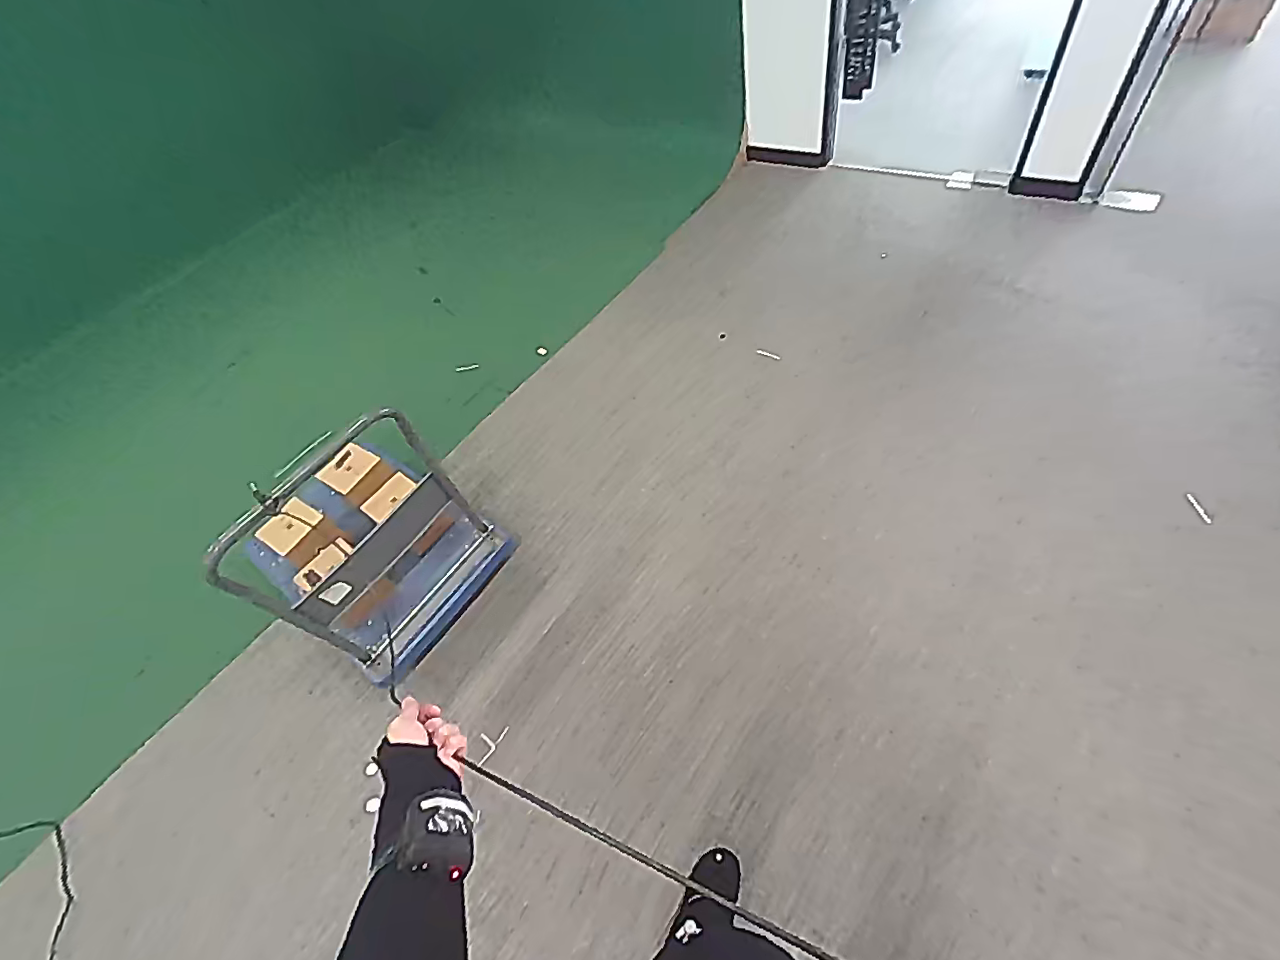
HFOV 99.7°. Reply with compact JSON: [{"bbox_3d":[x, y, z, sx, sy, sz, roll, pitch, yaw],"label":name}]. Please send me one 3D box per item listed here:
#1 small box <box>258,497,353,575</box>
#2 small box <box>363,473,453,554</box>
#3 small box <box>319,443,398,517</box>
[{"bbox_3d":[-1.097,0.192,1.787,0.179,0.176,0.168,23,62,26],"label":"small box"},{"bbox_3d":[-0.751,0.112,1.763,0.179,0.176,0.168,28,65,28],"label":"small box"},{"bbox_3d":[-0.964,0.004,1.890,0.179,0.176,0.168,24,64,25],"label":"small box"}]
